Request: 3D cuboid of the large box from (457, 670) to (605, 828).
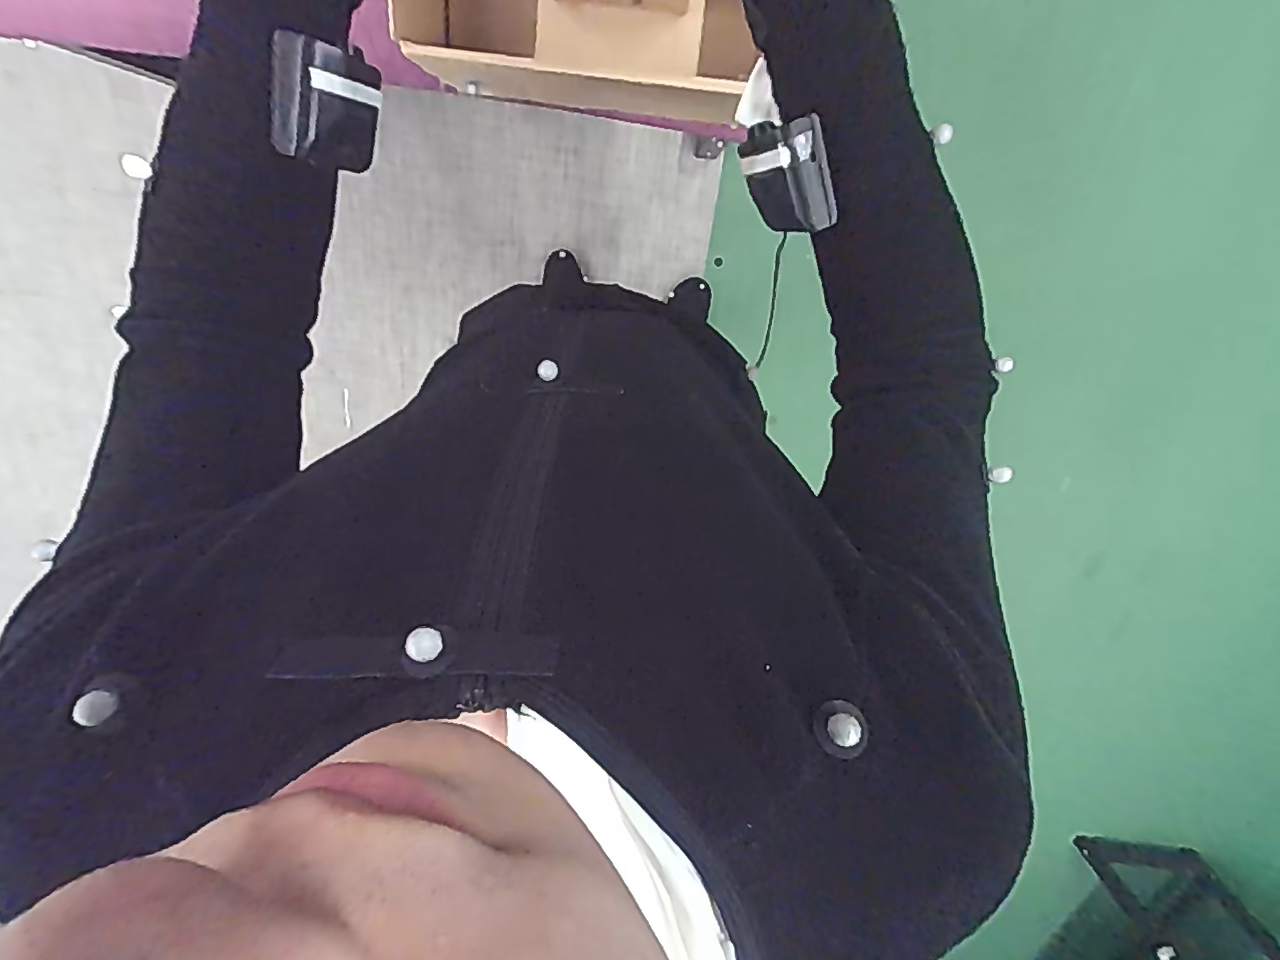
[{"bbox_3d":[-0.377,0.970,1.968,0.408,0.320,0.320,-25,112,9],"label":"large box"}]
